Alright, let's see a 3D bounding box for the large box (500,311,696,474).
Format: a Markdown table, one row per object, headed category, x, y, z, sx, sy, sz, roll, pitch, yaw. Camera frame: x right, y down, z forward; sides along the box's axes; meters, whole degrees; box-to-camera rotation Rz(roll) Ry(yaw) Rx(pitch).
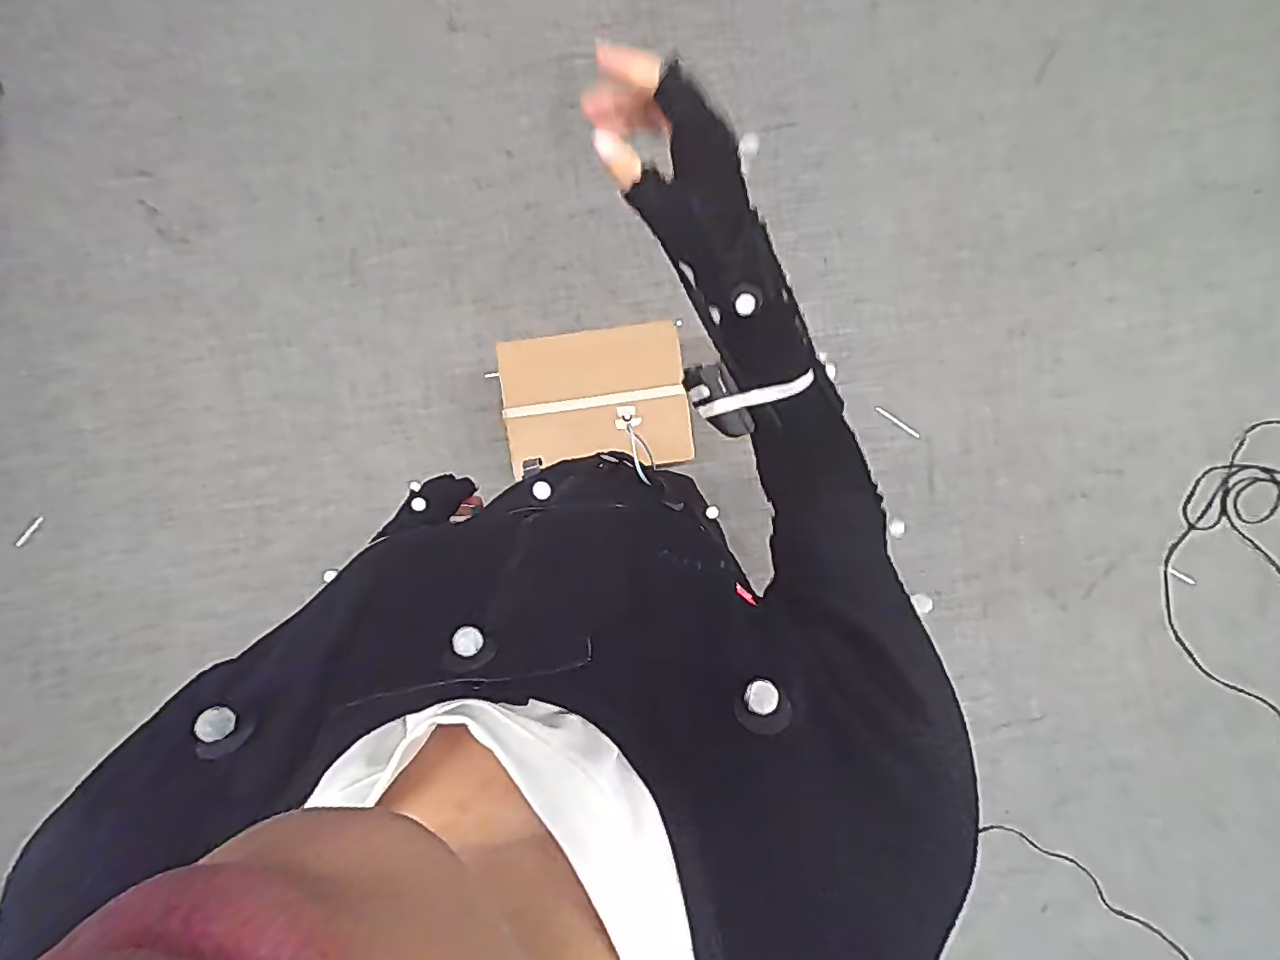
| category | x | y | z | sx | sy | sz | roll | pitch | yaw |
| --- | --- | --- | --- | --- | --- | --- | --- | --- | --- |
| large box | -0.093 | -0.194 | 1.337 | 0.408 | 0.320 | 0.320 | -7 | 92 | 0 |
